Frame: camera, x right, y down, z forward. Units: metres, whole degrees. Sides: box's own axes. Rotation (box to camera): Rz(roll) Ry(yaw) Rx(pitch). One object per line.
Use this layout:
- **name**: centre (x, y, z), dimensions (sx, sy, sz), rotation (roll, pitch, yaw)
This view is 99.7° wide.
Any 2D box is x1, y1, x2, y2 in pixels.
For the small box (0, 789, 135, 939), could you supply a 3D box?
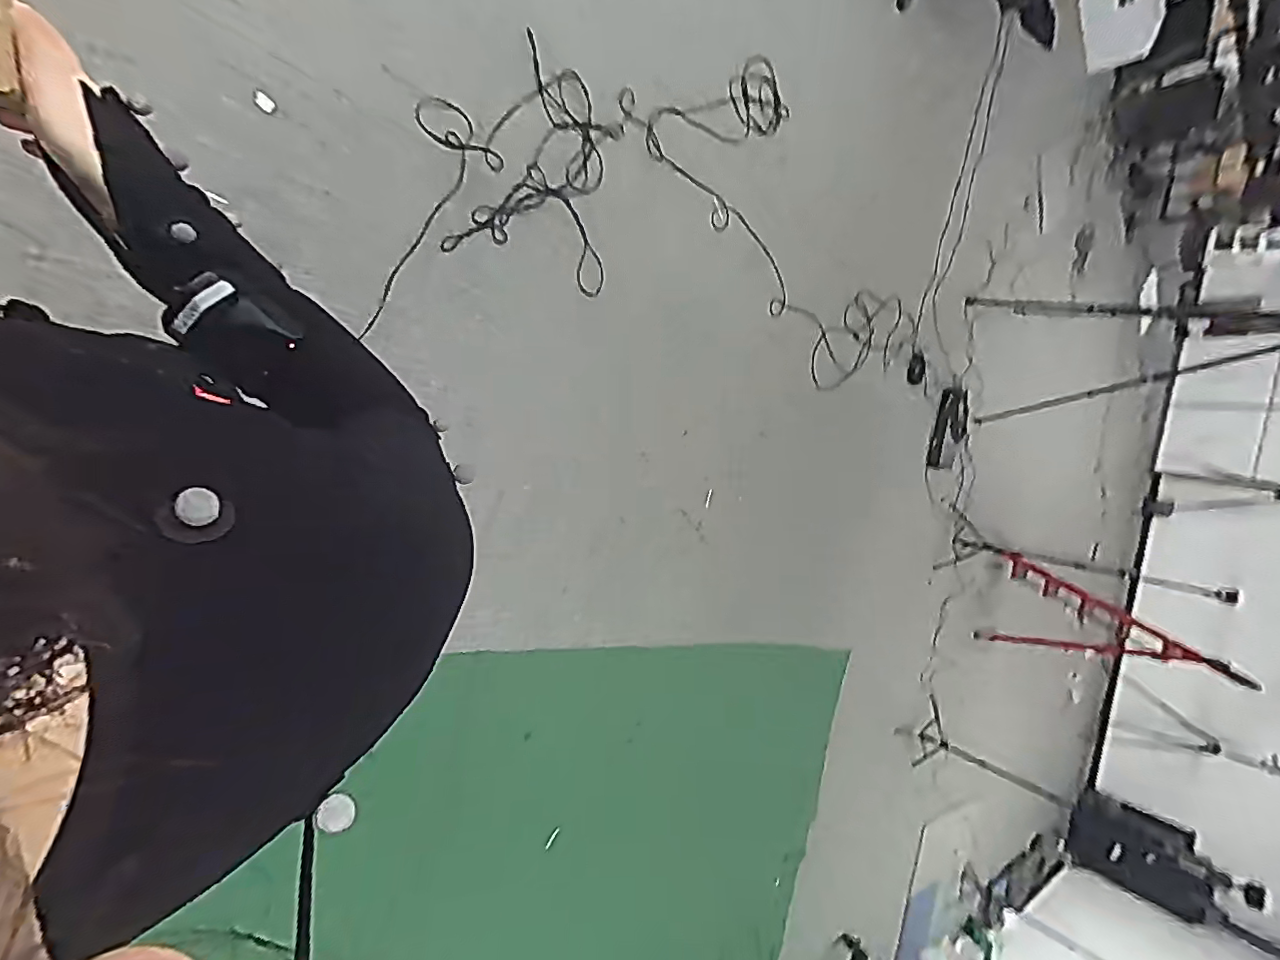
- **small box**: centre (-1.145, 0.749, 1.083), dimensions (0.168, 0.176, 0.179), rotation (15, 90, -40)

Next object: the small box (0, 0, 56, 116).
- **small box**: centre (-0.427, -0.289, 0.255), dimensions (0.179, 0.176, 0.168), rotation (-12, 122, -40)
